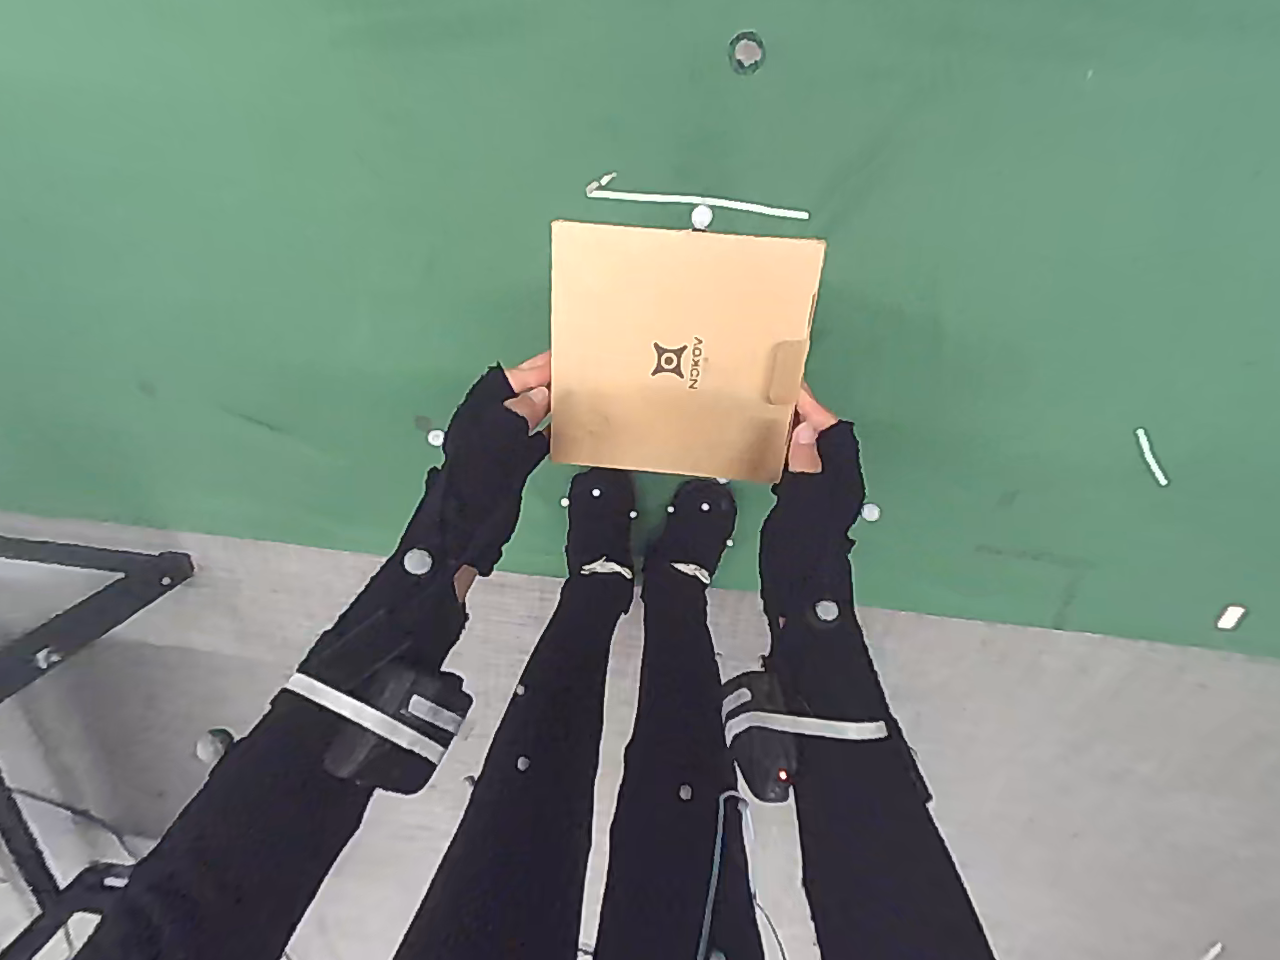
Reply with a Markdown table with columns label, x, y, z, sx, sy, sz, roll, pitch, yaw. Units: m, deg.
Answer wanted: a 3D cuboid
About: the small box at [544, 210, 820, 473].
| label | x | y | z | sx | sy | sz | roll | pitch | yaw |
| --- | --- | --- | --- | --- | --- | --- | --- | --- | --- |
| small box | 0.027 | -0.118 | 0.444 | 0.179 | 0.176 | 0.168 | 5 | 113 | 2 |
